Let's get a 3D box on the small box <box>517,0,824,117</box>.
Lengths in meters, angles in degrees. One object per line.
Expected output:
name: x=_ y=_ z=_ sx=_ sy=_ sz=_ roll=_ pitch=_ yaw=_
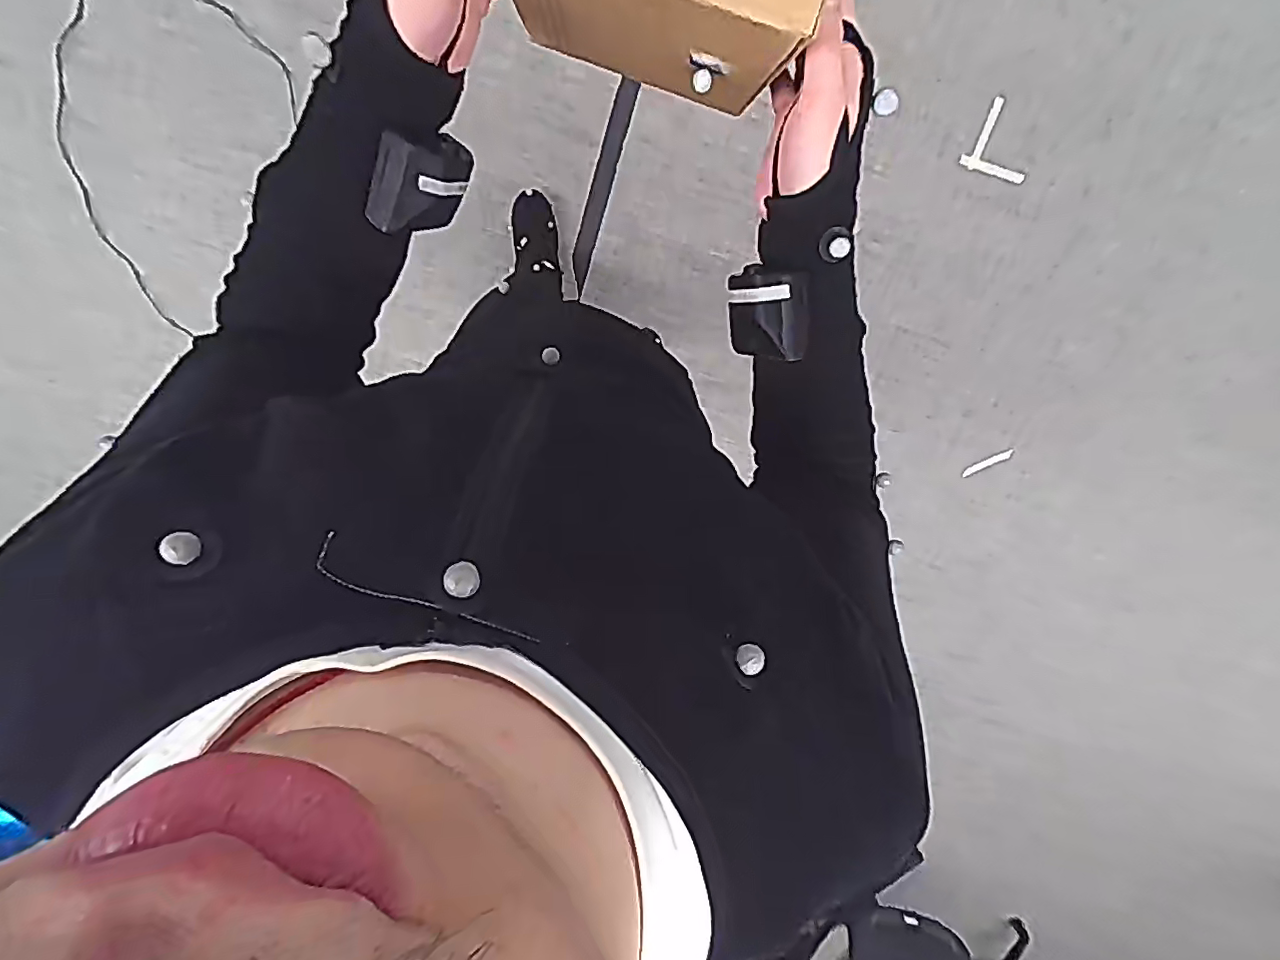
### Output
small box: x=0.022 y=-0.343 z=0.306 sx=0.176 sy=0.179 sz=0.168 roll=14 pitch=111 yaw=-10
